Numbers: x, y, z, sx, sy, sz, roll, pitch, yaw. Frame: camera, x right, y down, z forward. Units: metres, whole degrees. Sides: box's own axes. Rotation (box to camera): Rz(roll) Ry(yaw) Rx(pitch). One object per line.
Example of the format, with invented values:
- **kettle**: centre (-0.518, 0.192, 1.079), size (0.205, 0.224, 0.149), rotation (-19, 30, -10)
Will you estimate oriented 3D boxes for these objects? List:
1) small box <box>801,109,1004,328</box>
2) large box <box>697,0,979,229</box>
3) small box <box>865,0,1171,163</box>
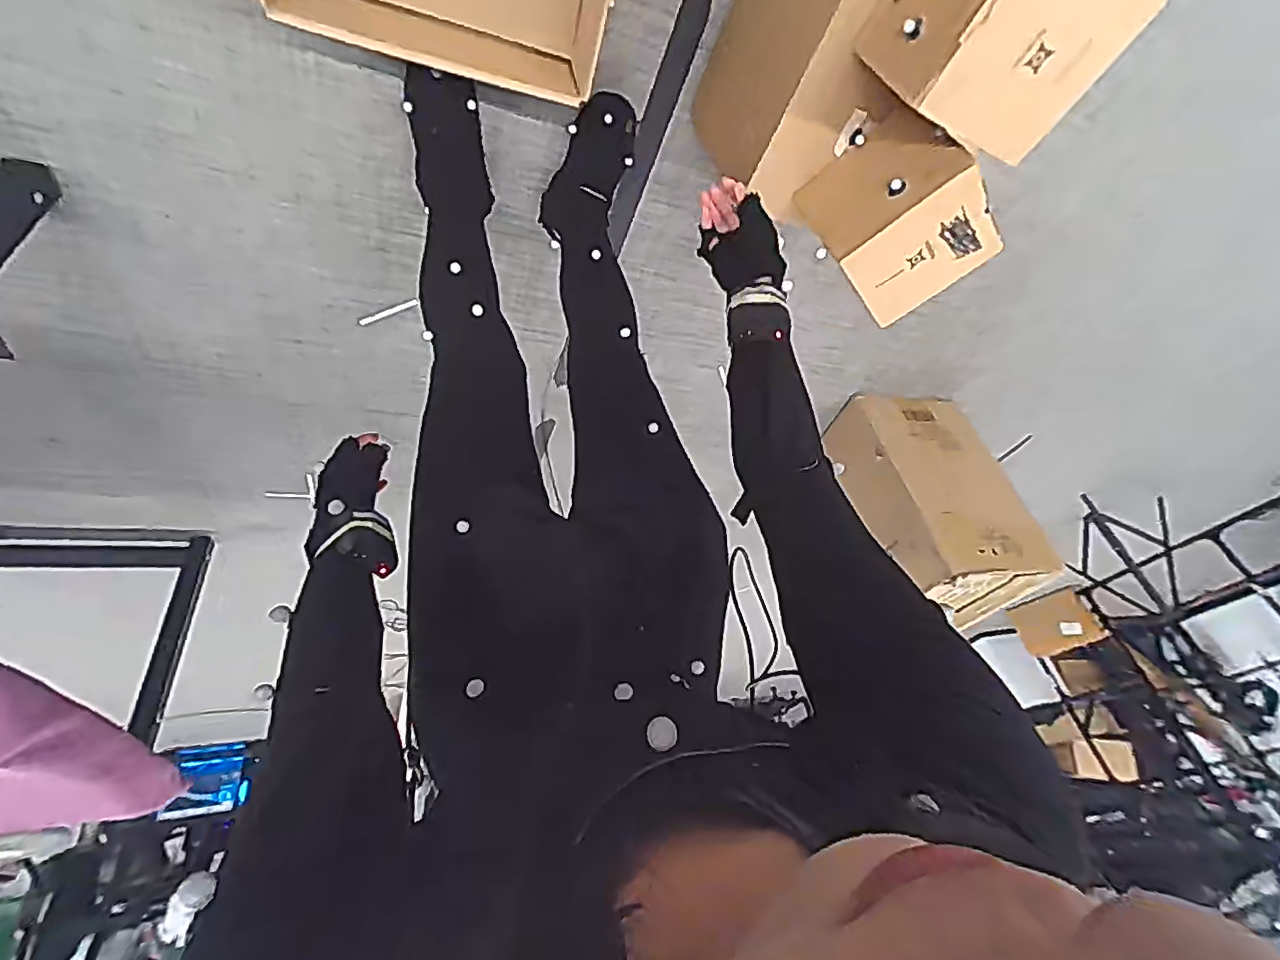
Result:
- **small box**: centre (0.353, -0.356, 0.744), size (0.179, 0.176, 0.168), rotation (-33, 141, 27)
- **large box**: centre (0.327, -0.627, 0.783), size (0.320, 0.320, 0.408), rotation (5, 143, -22)
- **small box**: centre (0.377, -0.484, 0.571), size (0.179, 0.176, 0.168), rotation (6, 144, -25)
